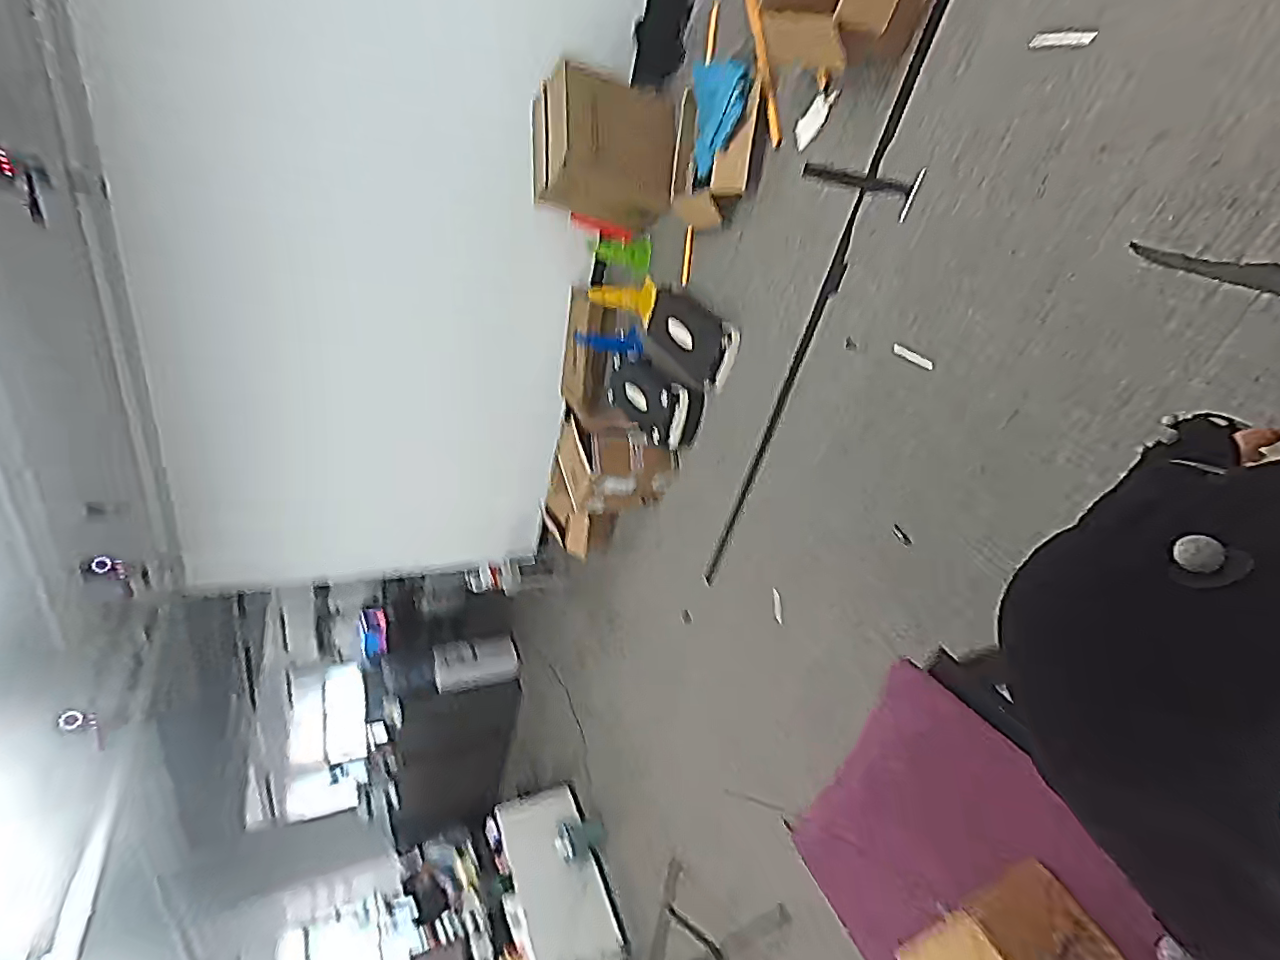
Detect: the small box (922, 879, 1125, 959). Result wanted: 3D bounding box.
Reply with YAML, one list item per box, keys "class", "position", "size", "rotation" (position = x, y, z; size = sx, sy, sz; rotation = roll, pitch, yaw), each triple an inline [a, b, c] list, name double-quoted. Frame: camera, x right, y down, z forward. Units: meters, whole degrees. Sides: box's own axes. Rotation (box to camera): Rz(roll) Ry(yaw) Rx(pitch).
- class: "small box"
  position: [0.490, 0.646, 0.672]
  size: [0.168, 0.176, 0.179]
  rotation: [55, 138, 45]
